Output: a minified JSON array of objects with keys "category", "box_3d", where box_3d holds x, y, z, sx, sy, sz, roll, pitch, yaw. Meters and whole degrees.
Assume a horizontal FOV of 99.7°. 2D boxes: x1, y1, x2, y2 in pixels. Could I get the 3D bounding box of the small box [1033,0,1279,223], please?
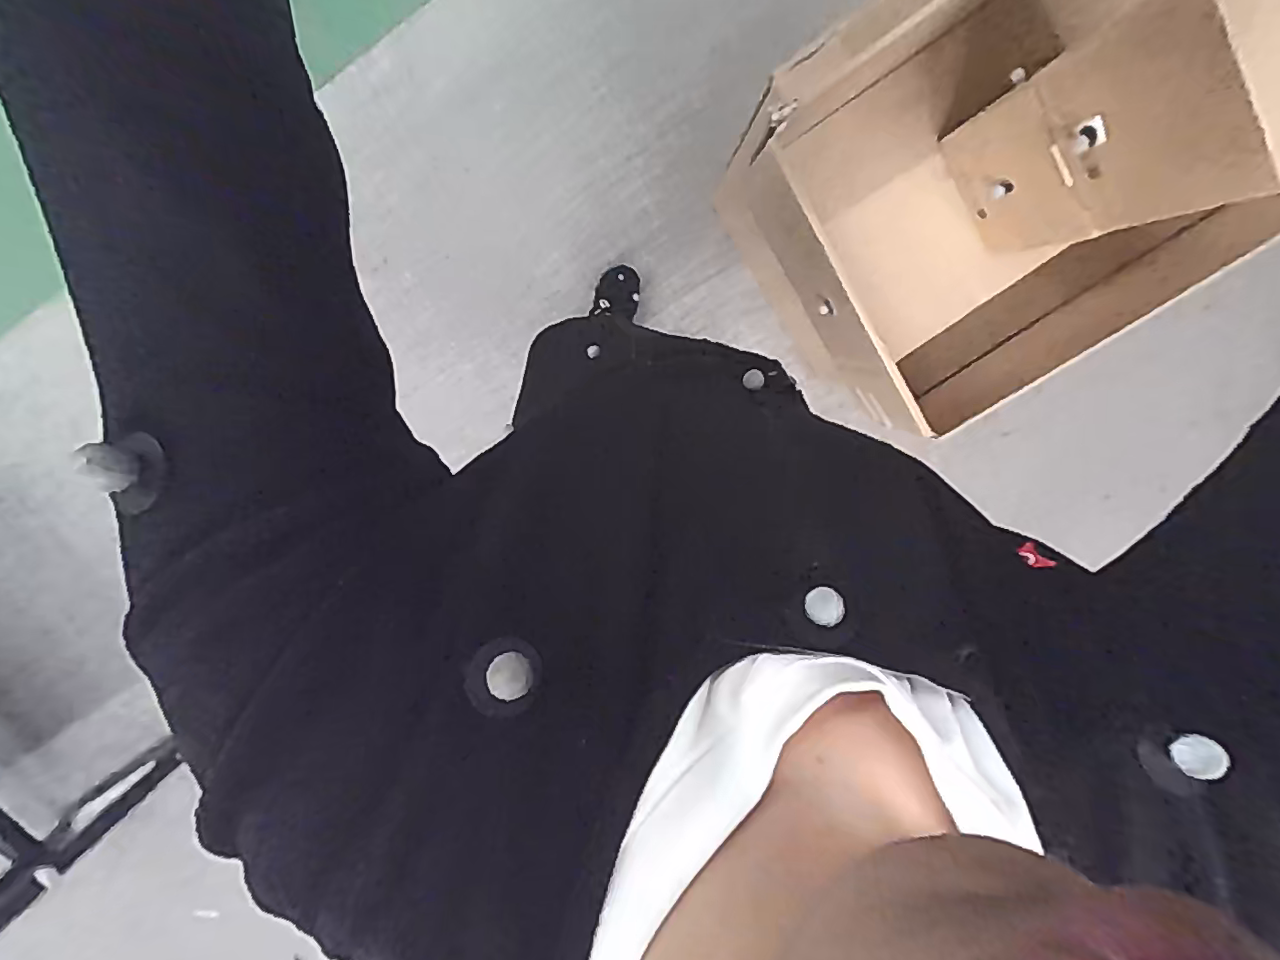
[{"category":"small box","box_3d":[0.484,-0.346,0.442,0.179,0.176,0.168,-35,102,9]}]
